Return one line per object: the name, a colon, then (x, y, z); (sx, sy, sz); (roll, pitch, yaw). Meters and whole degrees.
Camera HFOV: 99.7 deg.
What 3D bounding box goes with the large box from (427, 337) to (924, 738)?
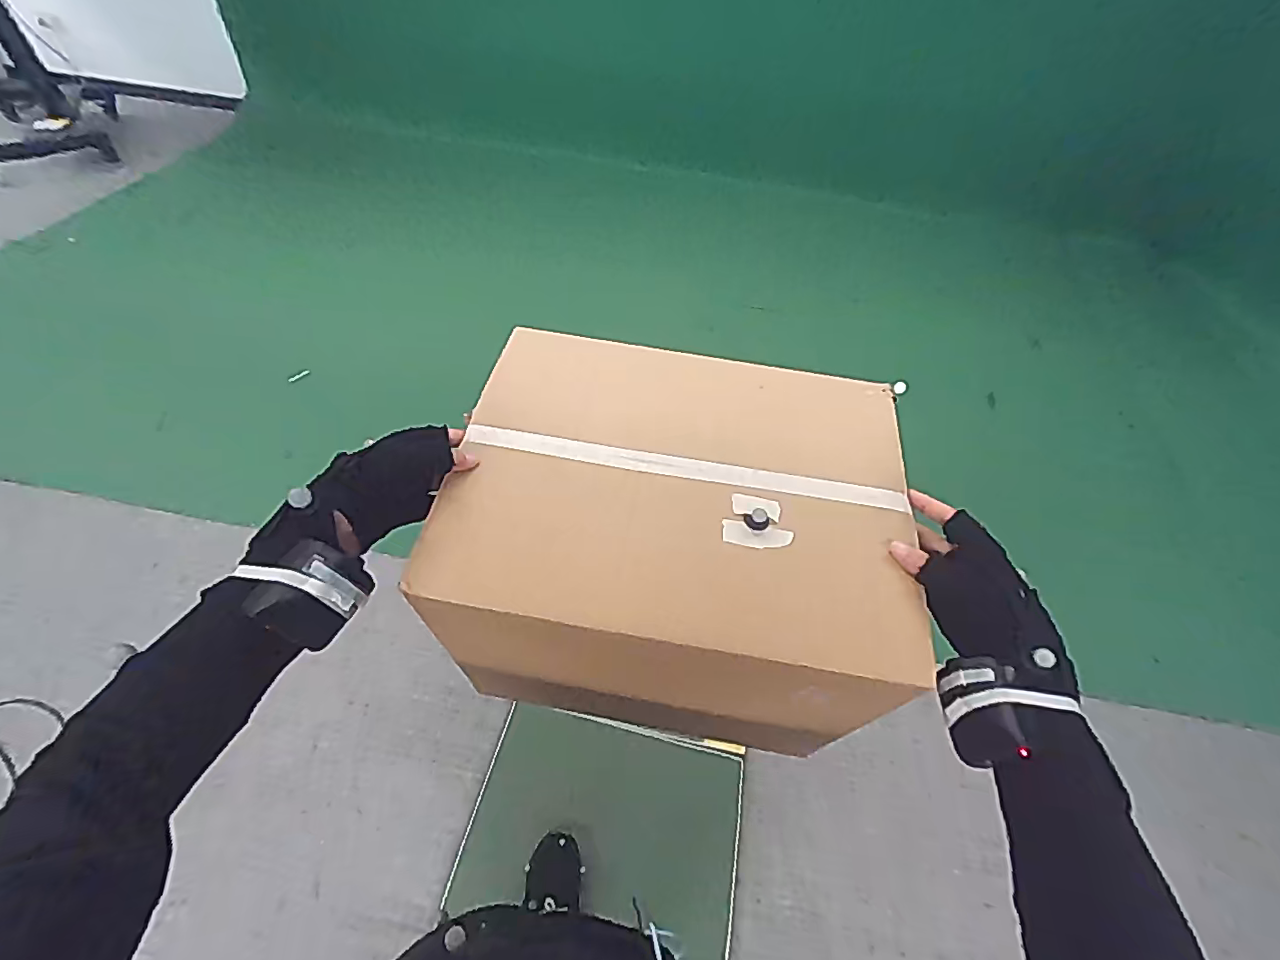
large box: (0.034, 0.078, 0.627); (0.408, 0.320, 0.320); (10, 56, 2)
